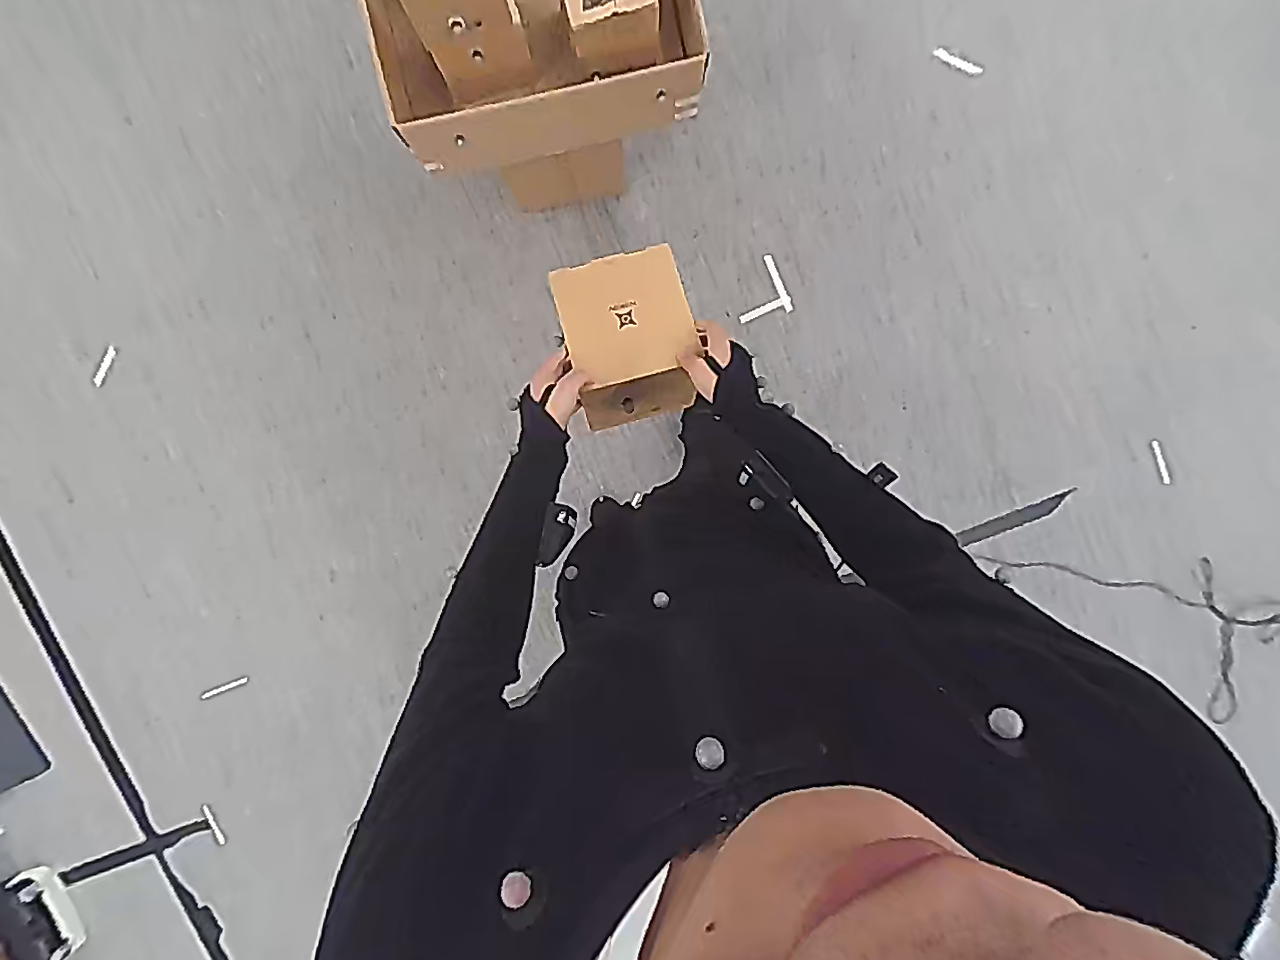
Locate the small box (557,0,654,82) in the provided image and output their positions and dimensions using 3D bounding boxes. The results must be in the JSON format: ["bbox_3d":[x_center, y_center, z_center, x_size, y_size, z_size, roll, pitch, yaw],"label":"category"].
[{"bbox_3d":[-0.071,-0.915,1.045,0.168,0.176,0.179,-15,94,1],"label":"small box"}]

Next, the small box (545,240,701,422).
[{"bbox_3d":[-0.022,-0.194,0.760,0.168,0.176,0.179,-16,77,-4],"label":"small box"}]

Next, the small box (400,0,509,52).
[{"bbox_3d":[-0.332,-0.864,0.882,0.168,0.176,0.179,-18,94,1],"label":"small box"}]

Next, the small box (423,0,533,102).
[{"bbox_3d":[-0.324,-0.877,1.045,0.179,0.176,0.168,-16,95,0],"label":"small box"}]
